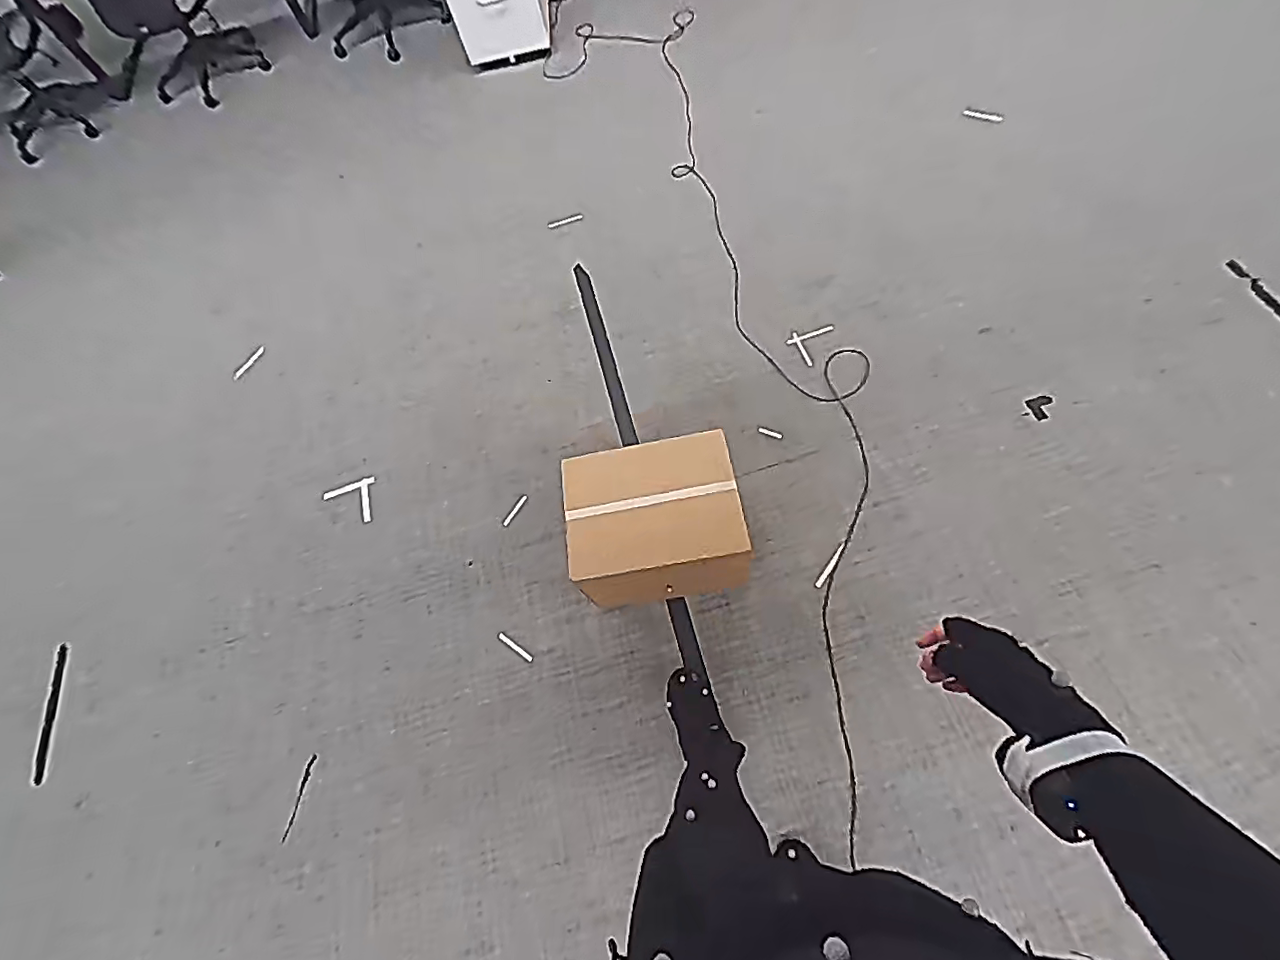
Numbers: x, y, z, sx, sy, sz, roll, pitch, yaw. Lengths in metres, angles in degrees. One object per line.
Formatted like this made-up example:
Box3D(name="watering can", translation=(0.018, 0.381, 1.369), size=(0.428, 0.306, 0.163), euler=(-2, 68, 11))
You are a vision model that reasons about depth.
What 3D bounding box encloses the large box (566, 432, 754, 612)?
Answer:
Box3D(name="large box", translation=(0.055, 0.120, 1.373), size=(0.408, 0.320, 0.320), euler=(-11, 64, 5))
